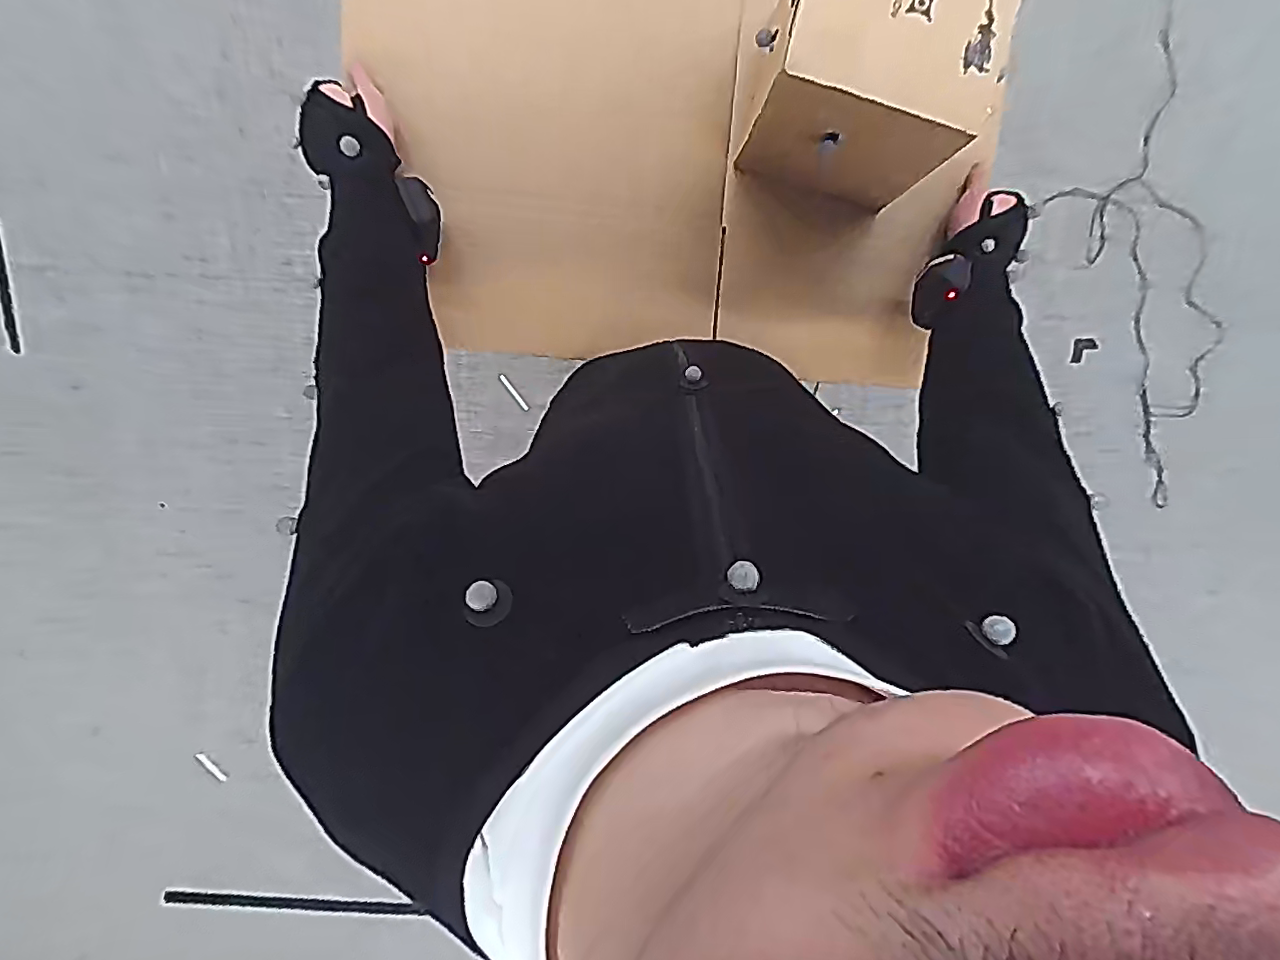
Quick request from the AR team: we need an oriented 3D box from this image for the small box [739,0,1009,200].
[{"bbox_3d":[0.208,-0.397,0.516,0.179,0.176,0.168,14,97,-4],"label":"small box"}]
